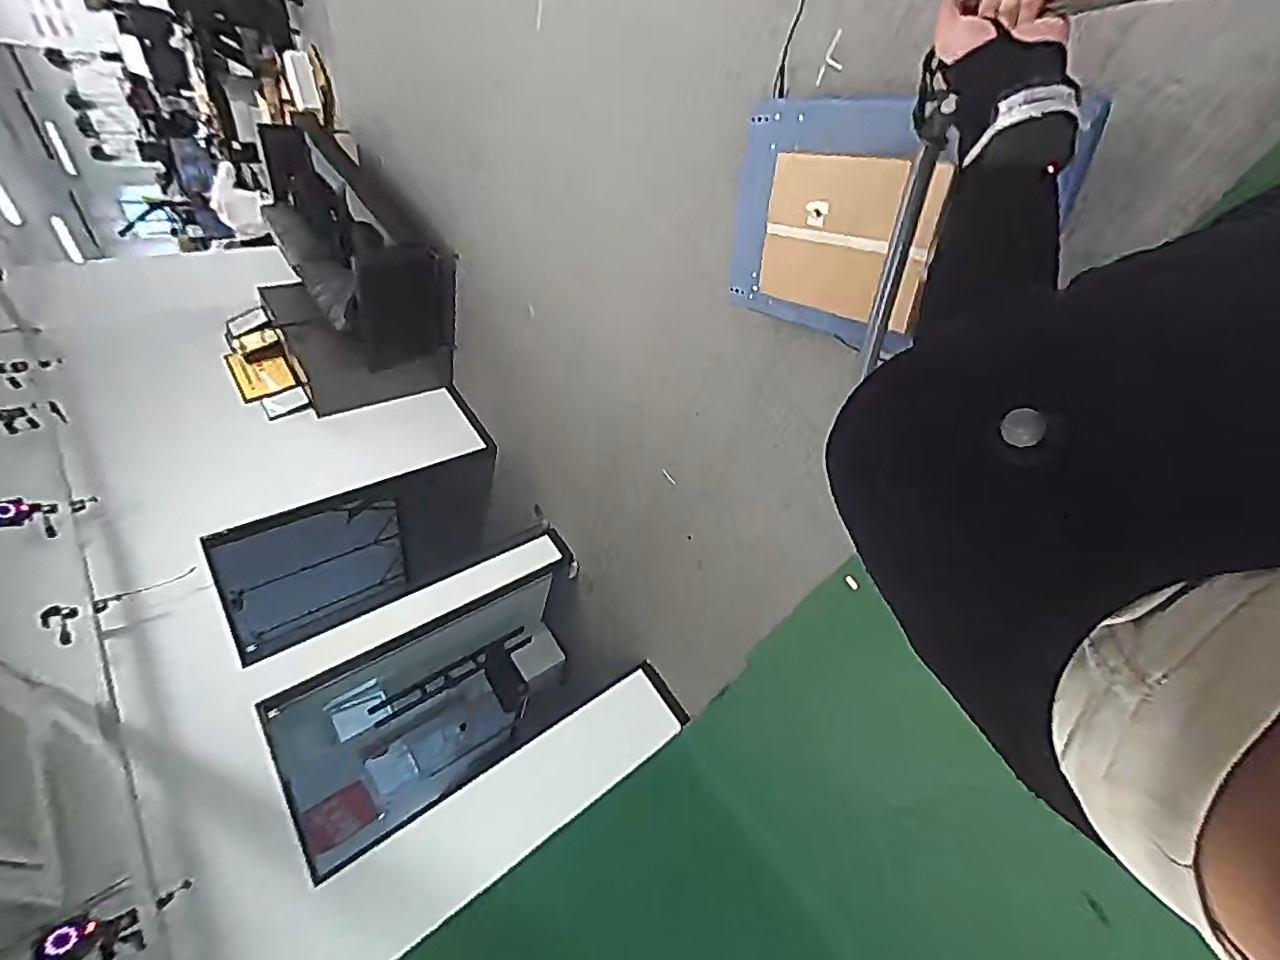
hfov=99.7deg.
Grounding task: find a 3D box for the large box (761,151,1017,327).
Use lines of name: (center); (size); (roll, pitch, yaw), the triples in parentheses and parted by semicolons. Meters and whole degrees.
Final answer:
large box: (0.551, -0.577, 1.253); (0.408, 0.320, 0.320); (35, 134, 40)
